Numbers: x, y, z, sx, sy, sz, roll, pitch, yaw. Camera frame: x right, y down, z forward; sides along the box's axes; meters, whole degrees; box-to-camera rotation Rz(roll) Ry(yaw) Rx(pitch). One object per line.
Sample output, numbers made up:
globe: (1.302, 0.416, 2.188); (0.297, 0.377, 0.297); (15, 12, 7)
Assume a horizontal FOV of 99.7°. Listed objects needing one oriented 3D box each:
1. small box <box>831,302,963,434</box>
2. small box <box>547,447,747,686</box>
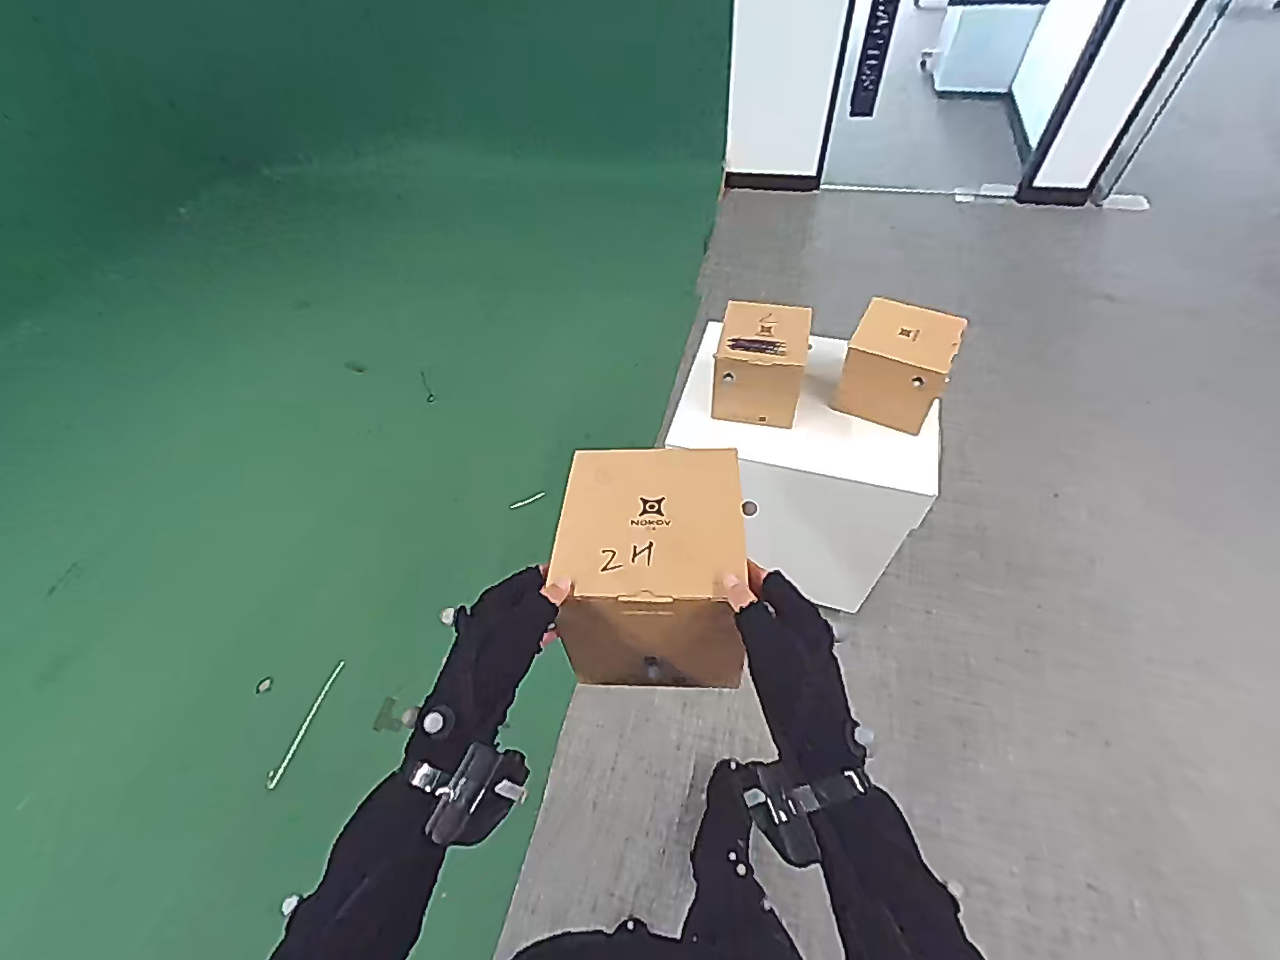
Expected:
small box: (0.495, -0.216, 1.061); (0.179, 0.176, 0.168); (23, 59, 21)
small box: (0.017, 0.085, 0.548); (0.168, 0.176, 0.179); (-1, 46, 7)
